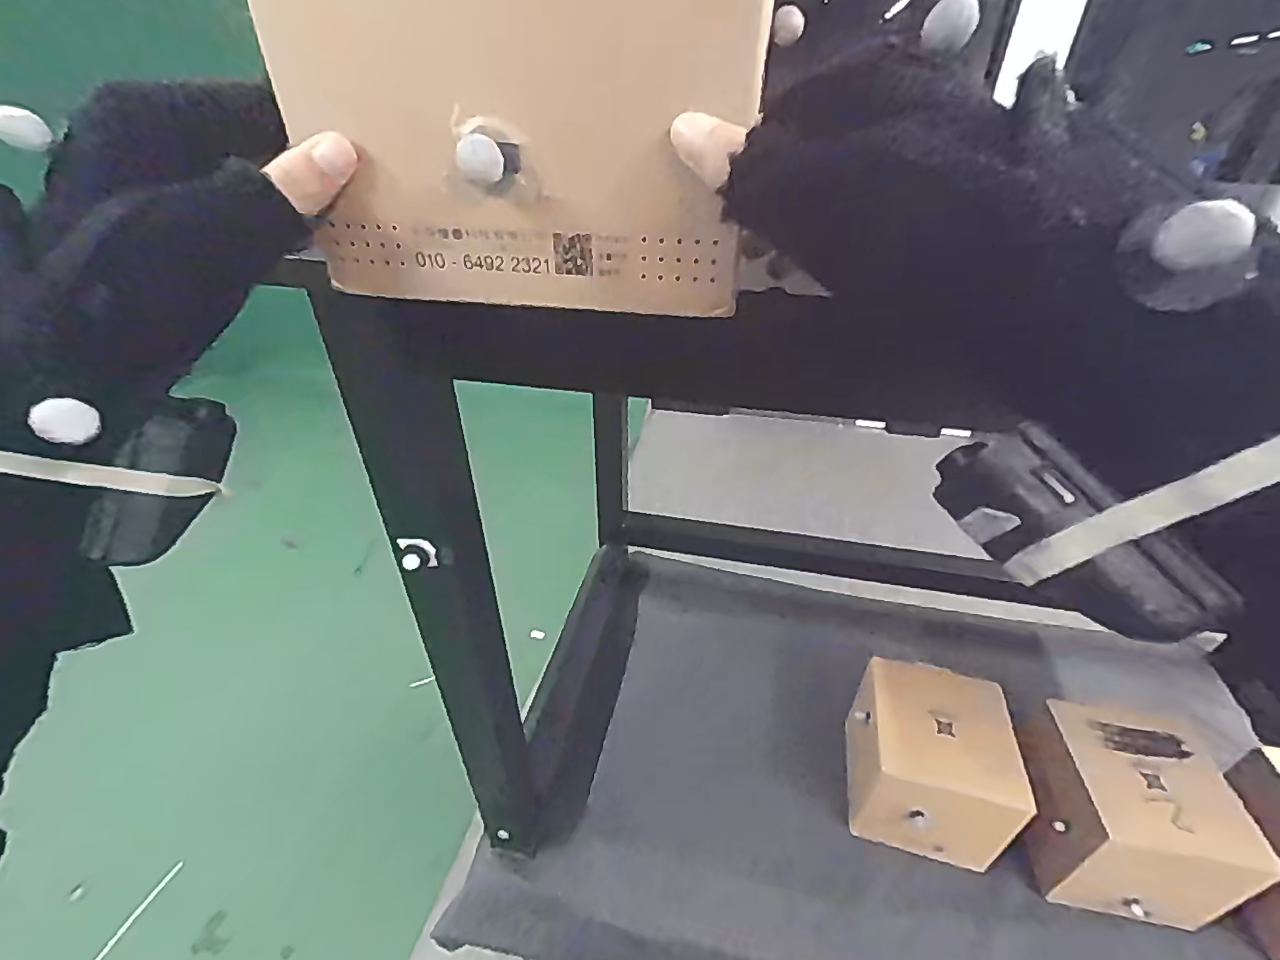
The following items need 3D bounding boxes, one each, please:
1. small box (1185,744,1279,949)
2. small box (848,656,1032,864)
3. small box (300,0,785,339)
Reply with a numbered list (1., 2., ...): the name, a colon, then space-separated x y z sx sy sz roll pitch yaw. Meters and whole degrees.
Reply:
1. small box: 0.816 0.447 0.627 0.168 0.176 0.179 6 34 8
2. small box: 0.387 0.377 0.734 0.168 0.176 0.179 9 35 13
3. small box: -0.026 -0.178 0.242 0.168 0.176 0.179 6 36 7
